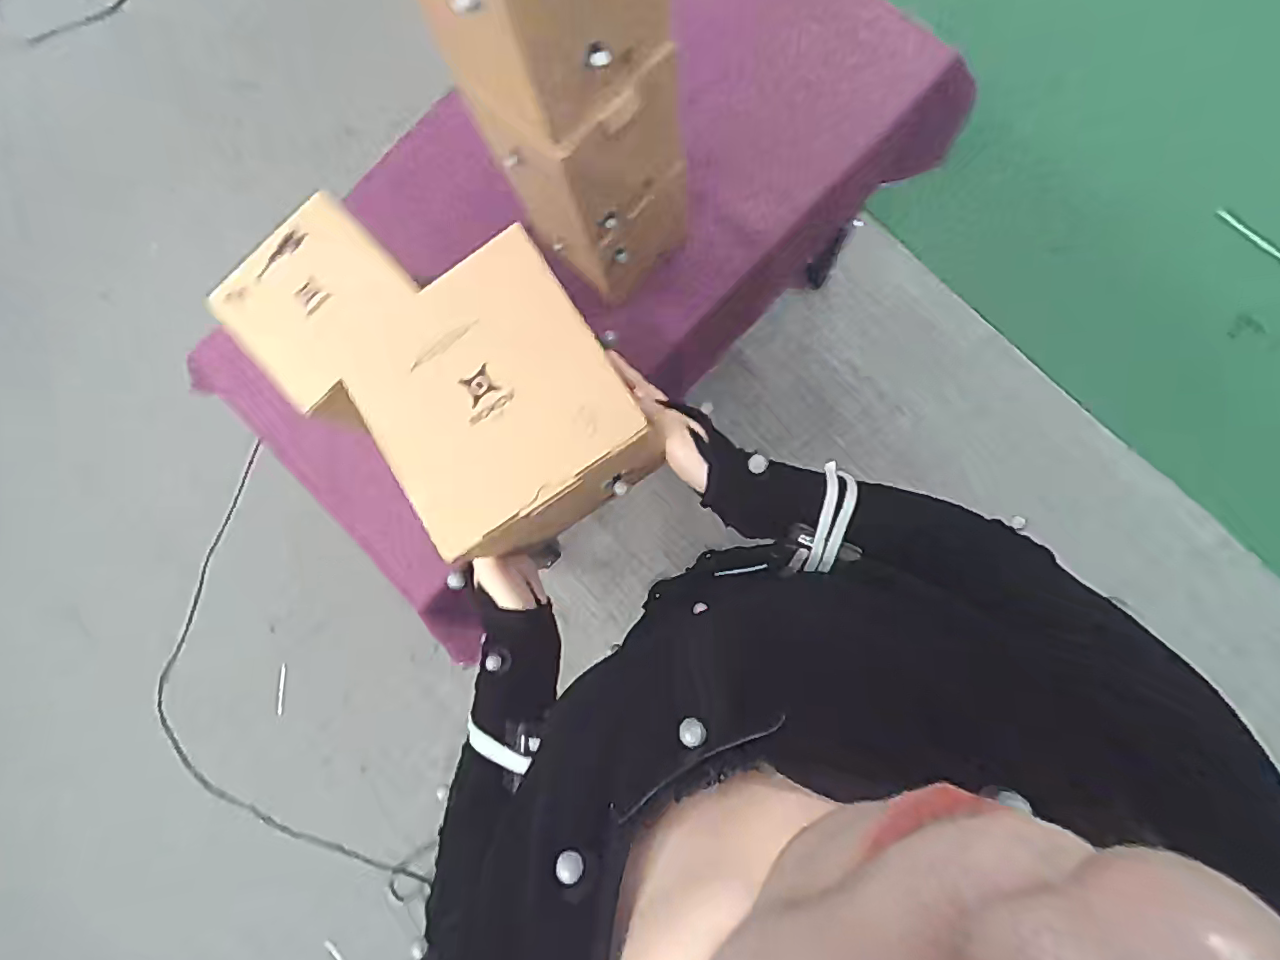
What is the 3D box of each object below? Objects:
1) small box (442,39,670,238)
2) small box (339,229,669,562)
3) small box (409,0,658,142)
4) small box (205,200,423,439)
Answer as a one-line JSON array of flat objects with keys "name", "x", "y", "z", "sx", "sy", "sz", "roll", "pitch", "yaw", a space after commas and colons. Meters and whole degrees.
[{"name": "small box", "x": -0.080, "y": -0.415, "z": 0.623, "sx": 0.179, "sy": 0.176, "sz": 0.168, "roll": 43, "pitch": 89, "yaw": 10}, {"name": "small box", "x": -0.090, "y": -0.053, "z": 0.443, "sx": 0.168, "sy": 0.176, "sz": 0.179, "roll": -33, "pitch": 81, "yaw": 4}, {"name": "small box", "x": -0.103, "y": -0.444, "z": 0.464, "sx": 0.179, "sy": 0.176, "sz": 0.168, "roll": 42, "pitch": 89, "yaw": 9}, {"name": "small box", "x": -0.318, "y": -0.163, "z": 0.617, "sx": 0.168, "sy": 0.176, "sz": 0.179, "roll": -45, "pitch": 81, "yaw": -1}]
